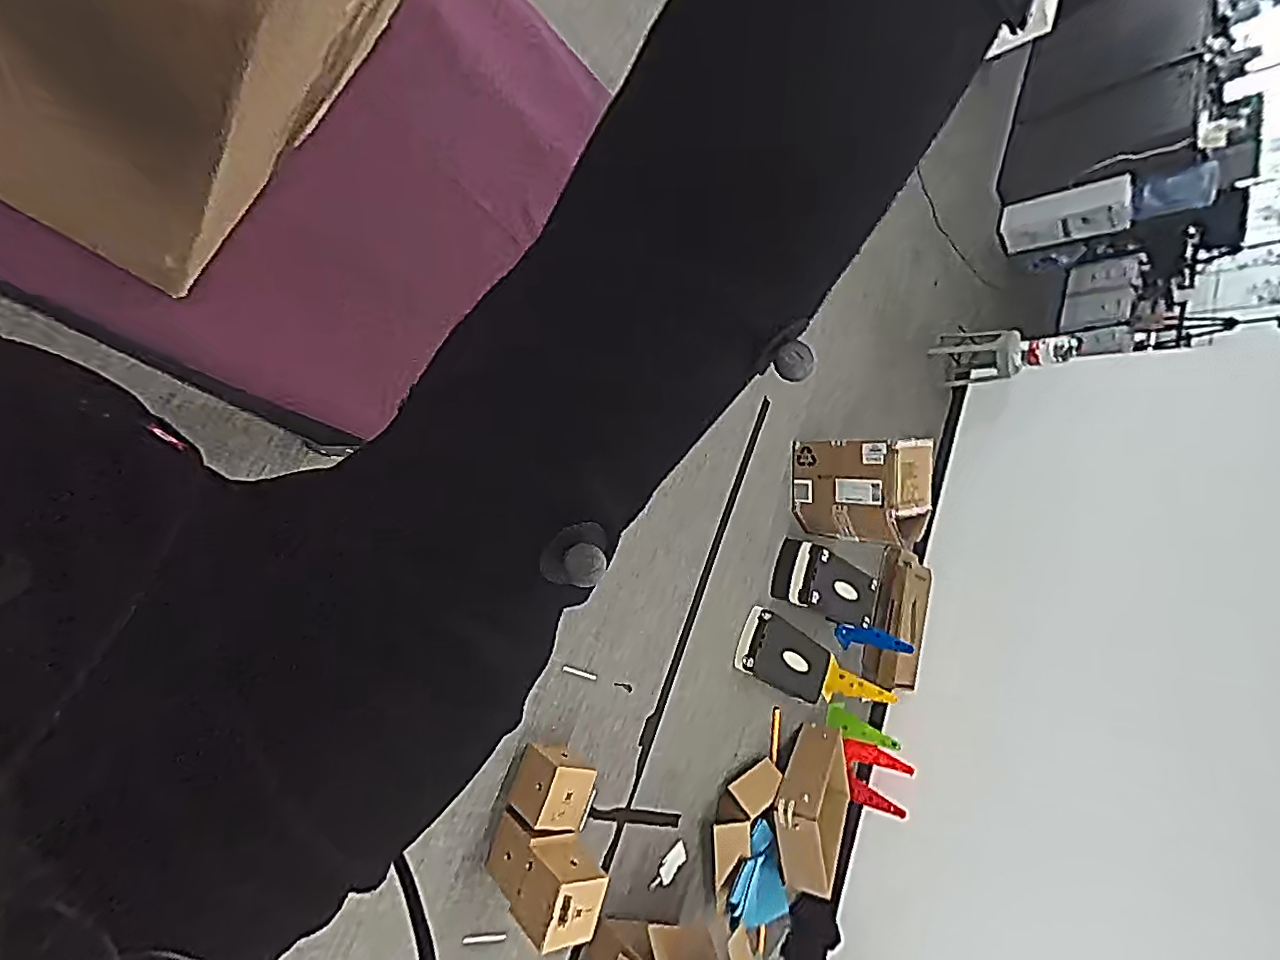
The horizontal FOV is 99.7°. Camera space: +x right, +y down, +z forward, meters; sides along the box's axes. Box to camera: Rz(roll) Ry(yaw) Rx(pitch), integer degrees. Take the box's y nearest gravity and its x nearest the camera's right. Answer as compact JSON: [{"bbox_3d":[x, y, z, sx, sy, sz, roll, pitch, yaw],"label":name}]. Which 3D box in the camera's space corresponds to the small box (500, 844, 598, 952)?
[{"bbox_3d":[-0.252,1.129,1.478,0.179,0.176,0.168,29,75,-41],"label":"small box"}]
